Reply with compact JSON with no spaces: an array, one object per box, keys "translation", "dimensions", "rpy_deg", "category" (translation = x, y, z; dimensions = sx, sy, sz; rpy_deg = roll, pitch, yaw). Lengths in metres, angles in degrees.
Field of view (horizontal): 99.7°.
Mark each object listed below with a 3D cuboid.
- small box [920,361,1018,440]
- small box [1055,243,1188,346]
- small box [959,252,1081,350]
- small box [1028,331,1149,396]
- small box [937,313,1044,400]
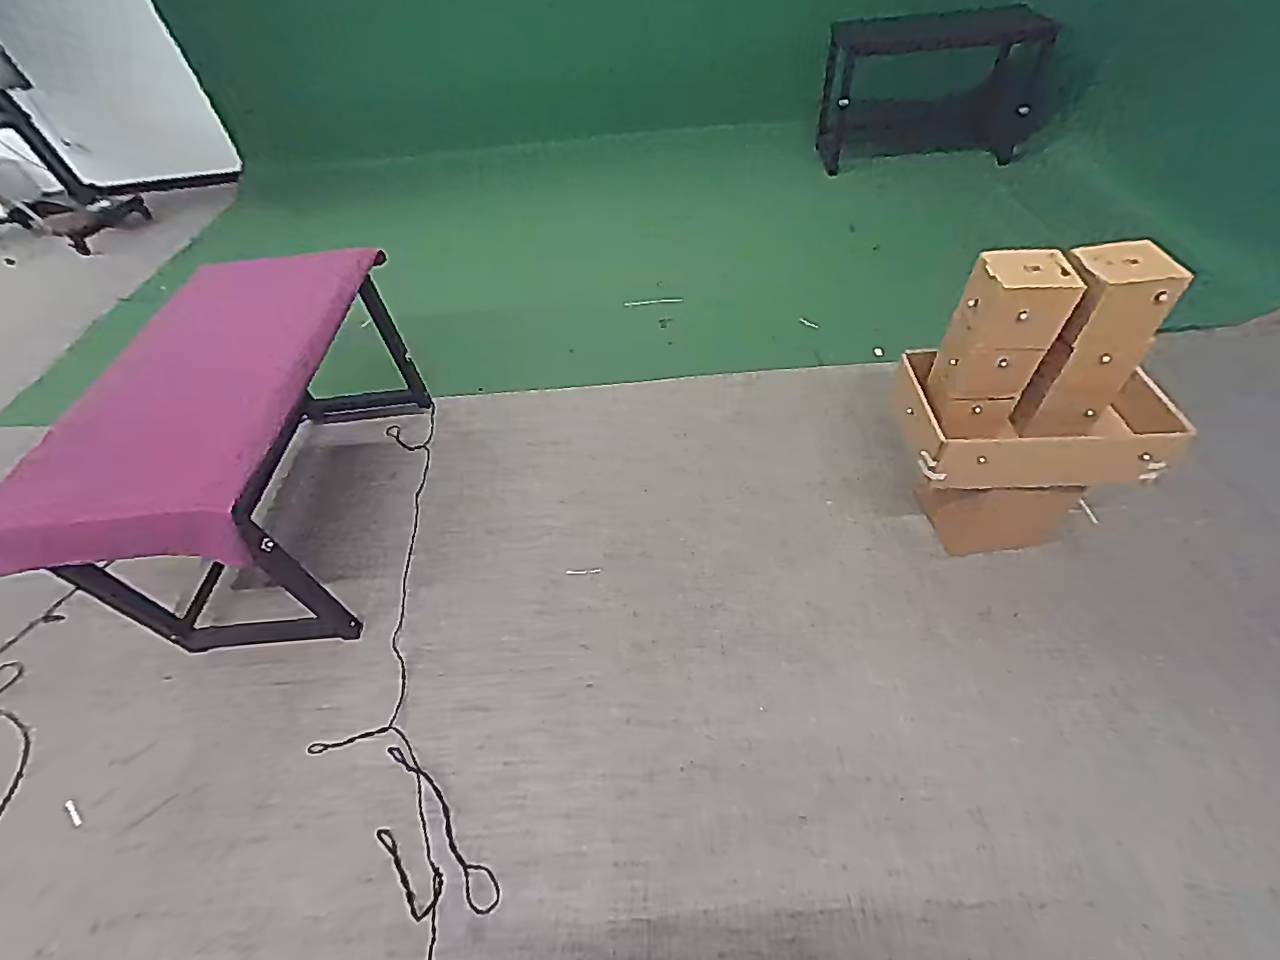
[{"translation":[0.936,-0.229,1.563],"dimensions":[0.179,0.176,0.168],"rpy_deg":[-1,50,4],"category":"small box"},{"translation":[1.121,-0.441,1.296],"dimensions":[0.179,0.176,0.168],"rpy_deg":[-4,49,6],"category":"small box"},{"translation":[0.900,-0.429,1.307],"dimensions":[0.179,0.176,0.168],"rpy_deg":[1,51,8],"category":"small box"},{"translation":[1.155,-0.337,1.421],"dimensions":[0.179,0.176,0.168],"rpy_deg":[-3,51,7],"category":"small box"},{"translation":[0.913,-0.327,1.435],"dimensions":[0.179,0.176,0.168],"rpy_deg":[1,51,6],"category":"small box"}]
